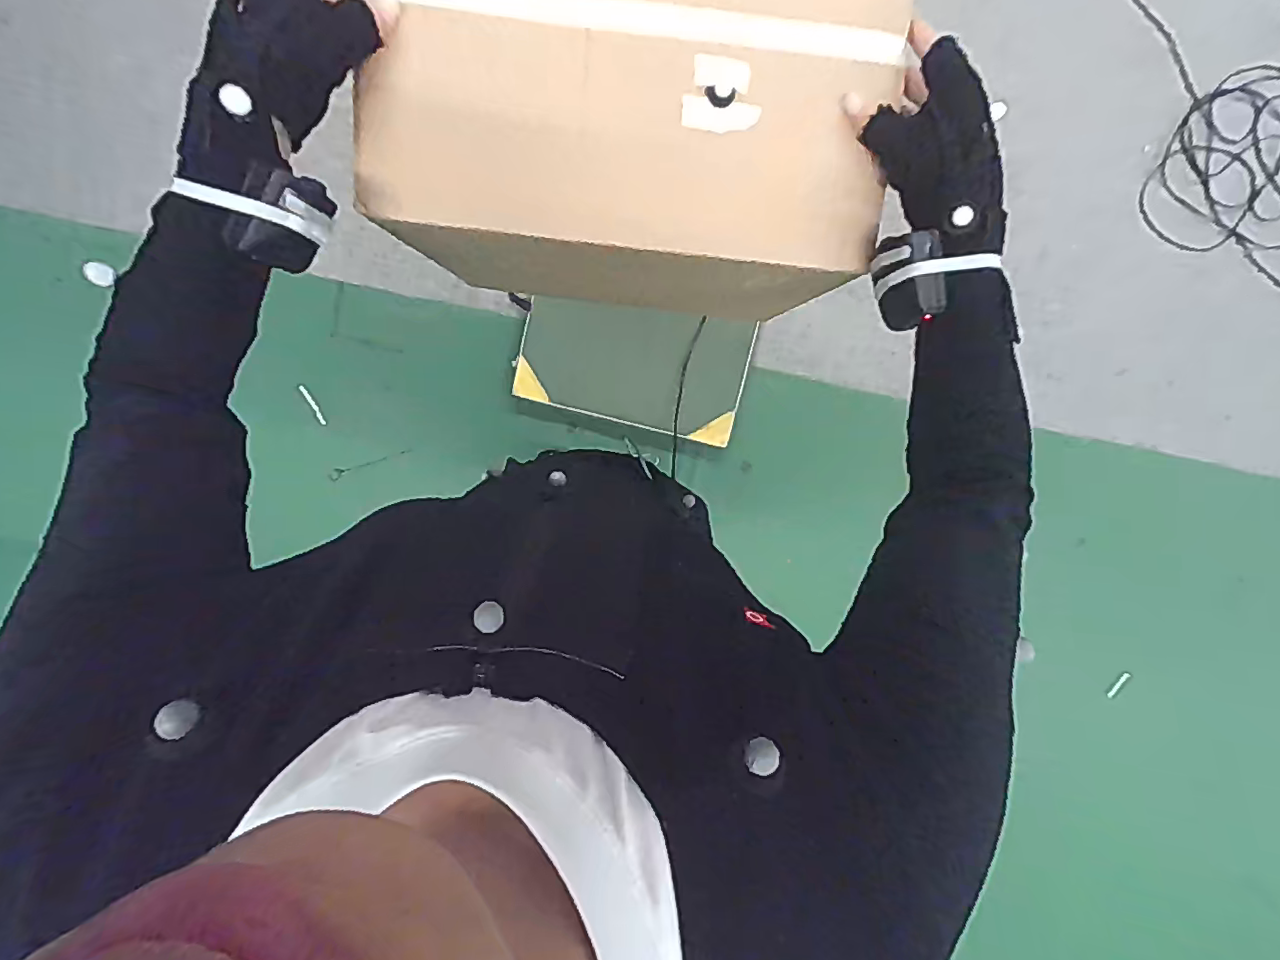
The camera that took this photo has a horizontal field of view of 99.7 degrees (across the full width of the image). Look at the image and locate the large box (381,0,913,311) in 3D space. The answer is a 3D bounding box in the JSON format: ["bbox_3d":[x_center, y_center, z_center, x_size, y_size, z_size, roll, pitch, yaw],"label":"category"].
[{"bbox_3d":[-0.001,-0.368,0.555,0.408,0.320,0.320,5,100,-4],"label":"large box"}]
